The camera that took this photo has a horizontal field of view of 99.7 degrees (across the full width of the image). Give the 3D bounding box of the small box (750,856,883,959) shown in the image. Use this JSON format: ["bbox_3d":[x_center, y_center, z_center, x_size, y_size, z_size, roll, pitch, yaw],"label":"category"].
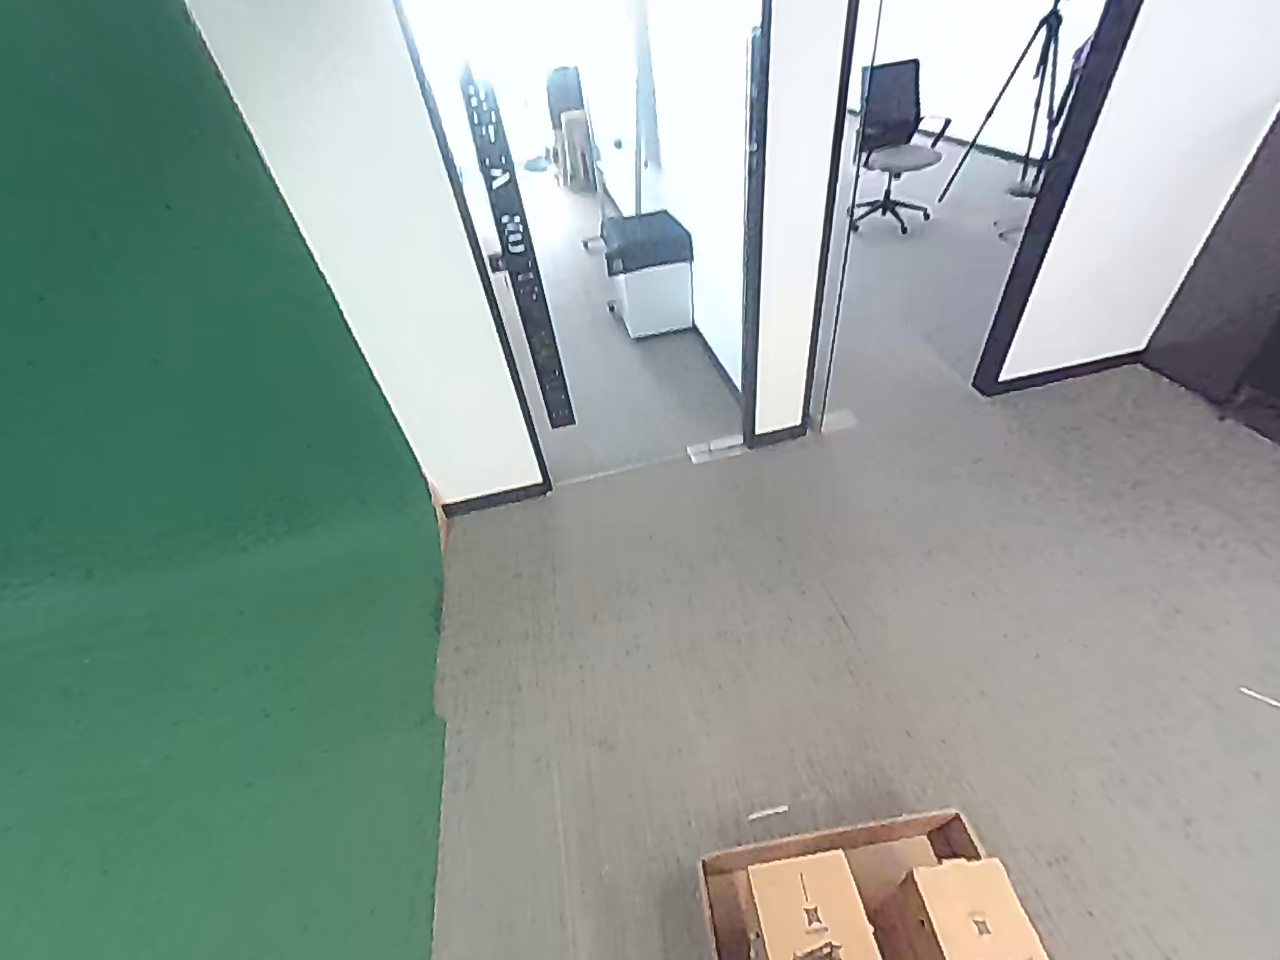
[{"bbox_3d":[0.281,0.747,0.876,0.168,0.176,0.179,-9,39,-1],"label":"small box"}]

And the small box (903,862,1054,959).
[{"bbox_3d":[0.604,0.826,0.978,0.168,0.176,0.179,-8,40,1],"label":"small box"}]
